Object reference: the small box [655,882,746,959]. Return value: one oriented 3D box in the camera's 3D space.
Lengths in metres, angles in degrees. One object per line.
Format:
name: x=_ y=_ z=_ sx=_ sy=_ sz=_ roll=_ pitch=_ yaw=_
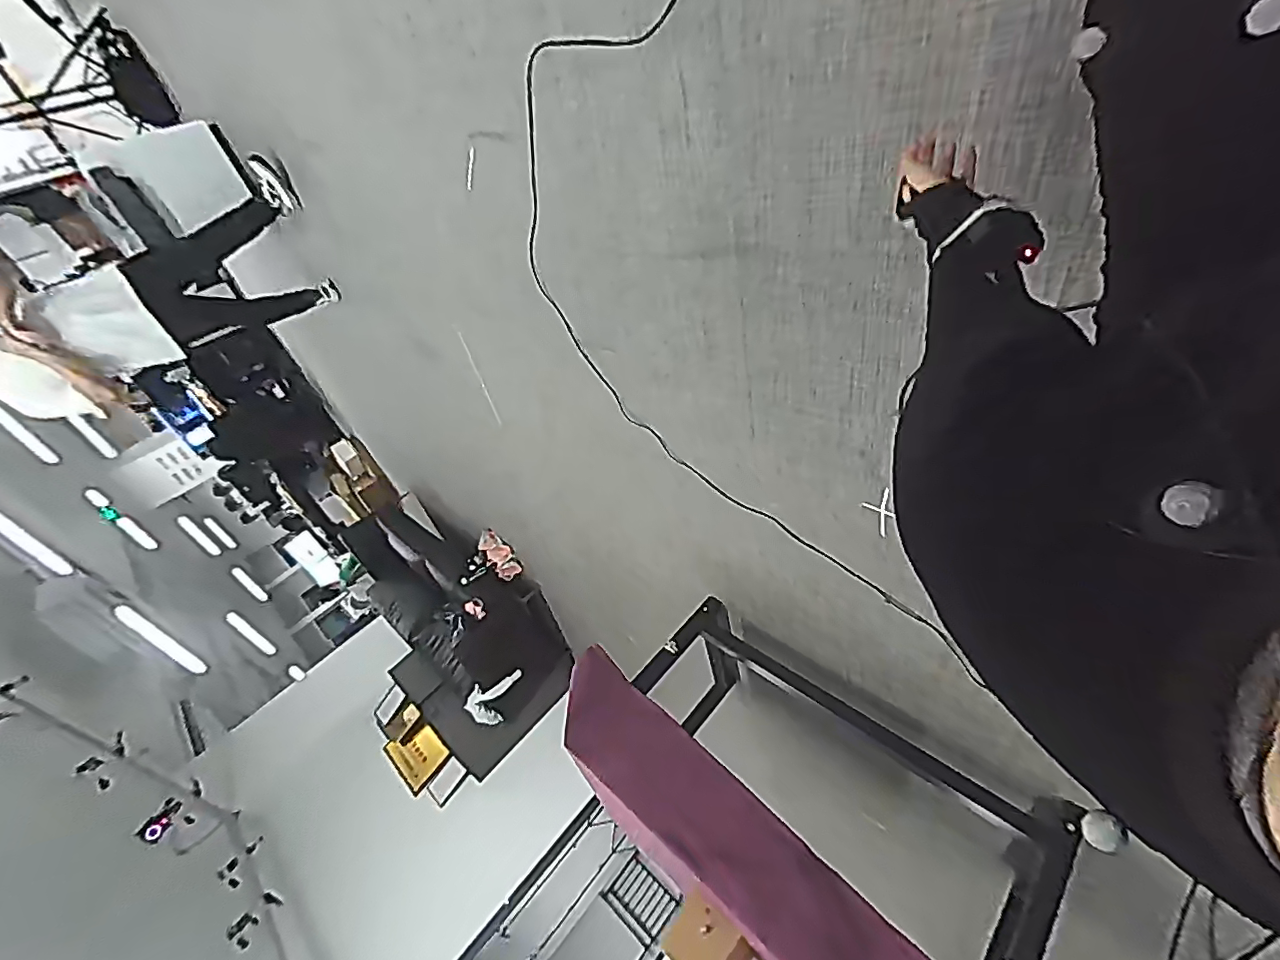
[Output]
small box: x=0.175 y=1.279 z=1.503 sx=0.168 sy=0.176 sz=0.179 roll=18 pitch=138 yaw=44
